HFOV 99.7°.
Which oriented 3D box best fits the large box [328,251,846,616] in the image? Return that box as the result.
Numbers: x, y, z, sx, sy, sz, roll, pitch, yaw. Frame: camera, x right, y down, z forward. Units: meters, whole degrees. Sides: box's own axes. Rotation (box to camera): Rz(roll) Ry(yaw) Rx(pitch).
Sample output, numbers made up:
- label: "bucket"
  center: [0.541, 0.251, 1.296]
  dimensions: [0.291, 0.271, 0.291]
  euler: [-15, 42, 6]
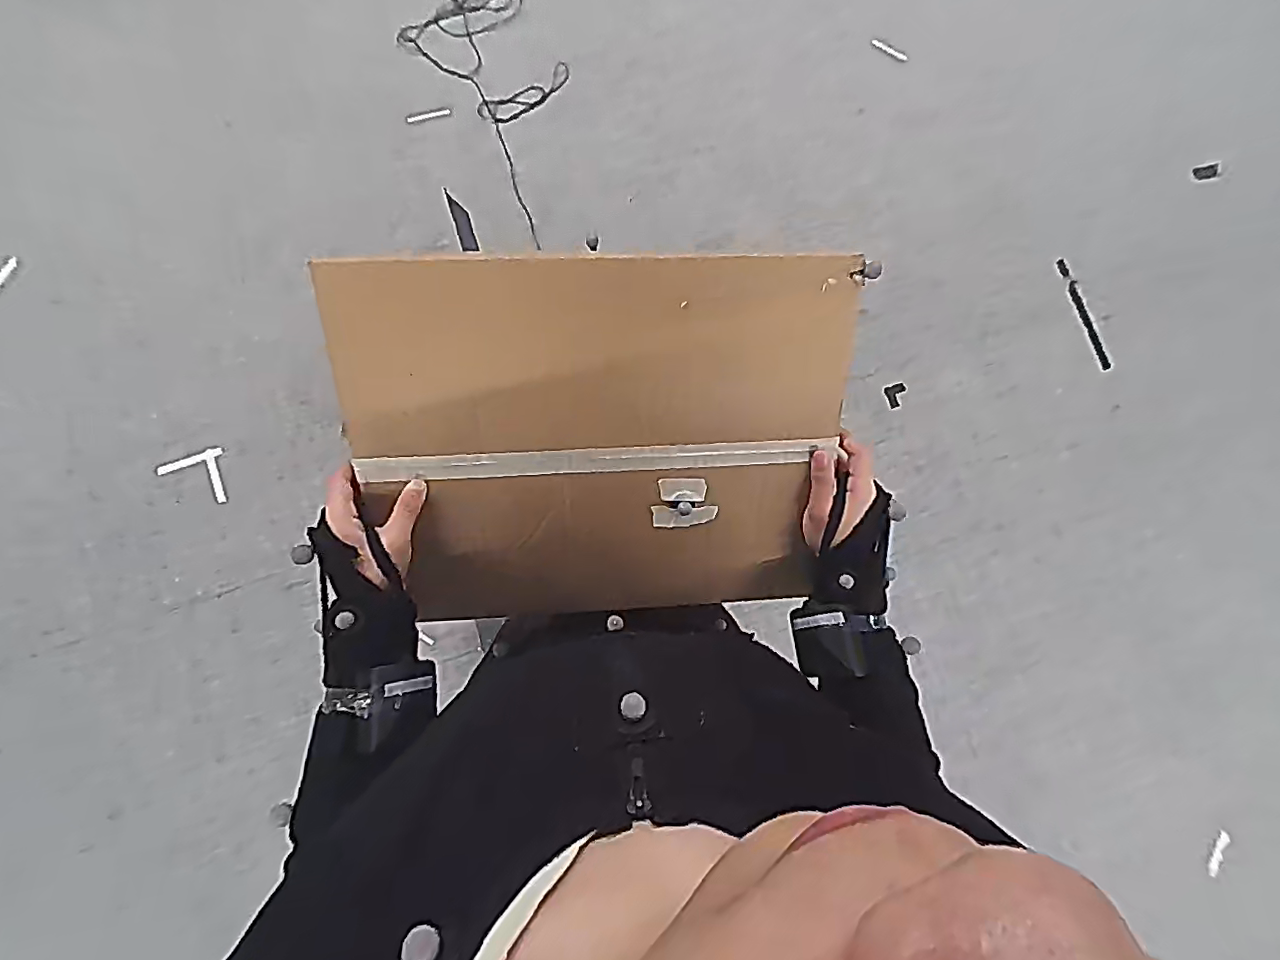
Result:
- label: "large box"
  center: [-0.047, -0.083, 0.605]
  dimensions: [0.408, 0.320, 0.320]
  euler: [-4, 115, -6]
